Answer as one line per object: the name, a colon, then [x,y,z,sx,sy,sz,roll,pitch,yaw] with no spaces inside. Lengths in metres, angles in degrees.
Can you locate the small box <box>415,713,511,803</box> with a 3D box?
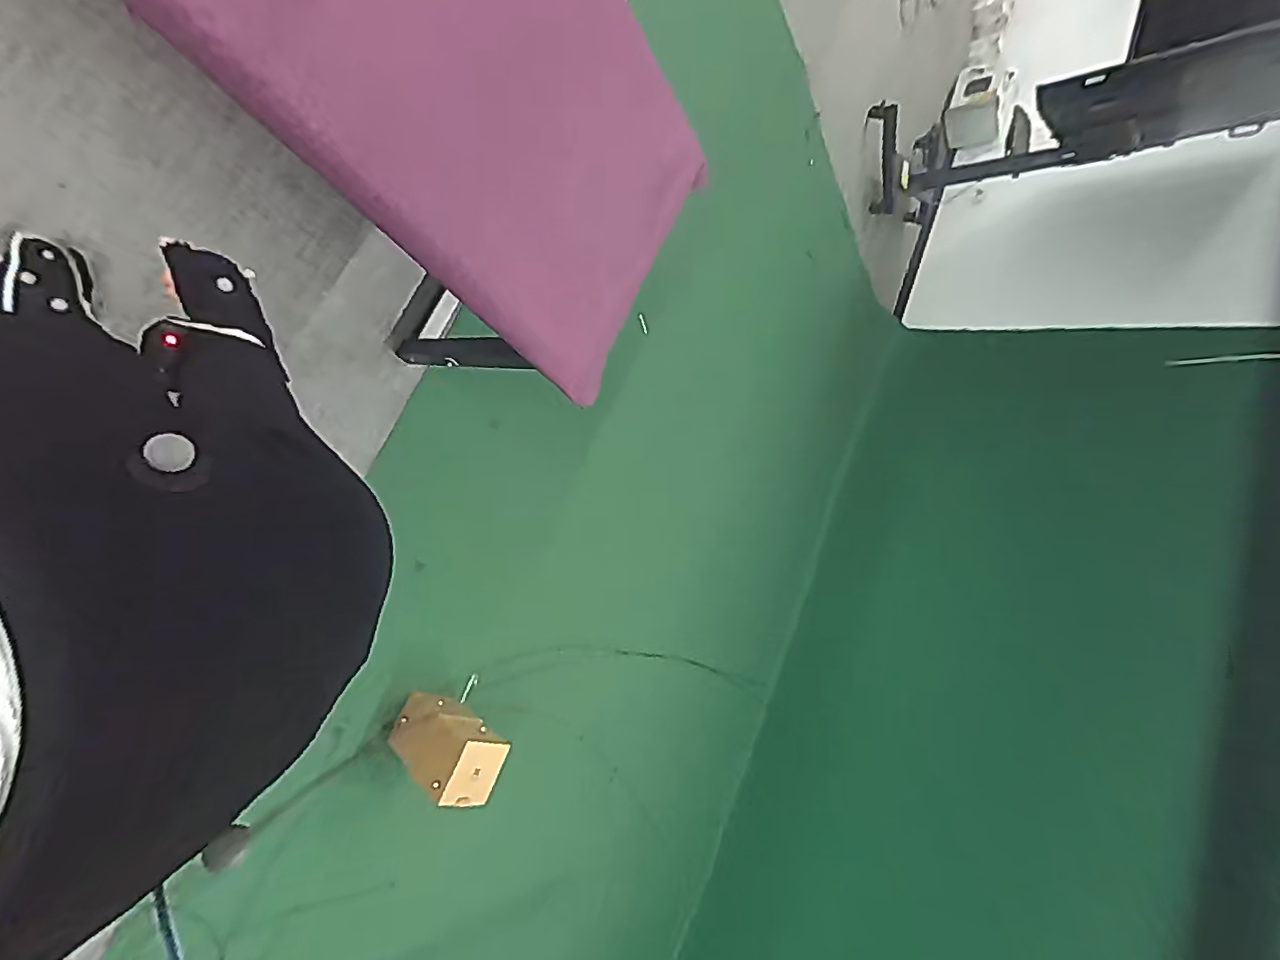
small box: [-0.513,0.797,1.558,0.168,0.176,0.179,38,72,-46]
